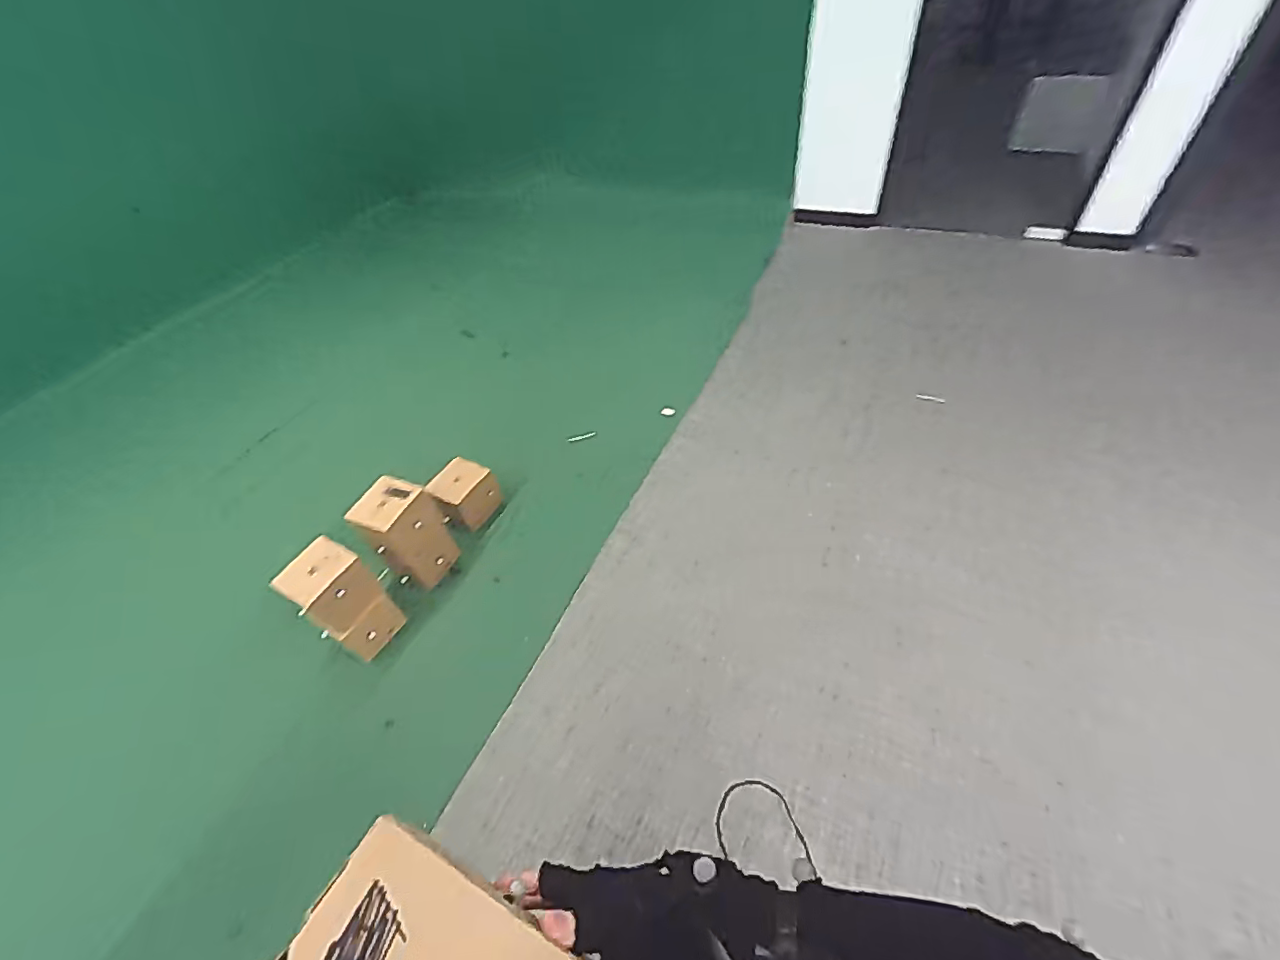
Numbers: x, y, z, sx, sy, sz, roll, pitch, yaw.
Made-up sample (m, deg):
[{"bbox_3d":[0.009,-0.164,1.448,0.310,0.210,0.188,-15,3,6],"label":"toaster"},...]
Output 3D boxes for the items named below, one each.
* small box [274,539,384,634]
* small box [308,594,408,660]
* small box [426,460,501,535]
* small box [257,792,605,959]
[{"bbox_3d":[-0.870,0.304,1.532,0.168,0.176,0.179,20,54,24],"label":"small box"},{"bbox_3d":[-0.848,0.423,1.645,0.179,0.176,0.168,20,54,25],"label":"small box"},{"bbox_3d":[-0.622,0.064,1.939,0.168,0.176,0.179,20,53,24],"label":"small box"},{"bbox_3d":[-0.141,0.347,0.354,0.179,0.176,0.168,29,54,14],"label":"small box"}]
